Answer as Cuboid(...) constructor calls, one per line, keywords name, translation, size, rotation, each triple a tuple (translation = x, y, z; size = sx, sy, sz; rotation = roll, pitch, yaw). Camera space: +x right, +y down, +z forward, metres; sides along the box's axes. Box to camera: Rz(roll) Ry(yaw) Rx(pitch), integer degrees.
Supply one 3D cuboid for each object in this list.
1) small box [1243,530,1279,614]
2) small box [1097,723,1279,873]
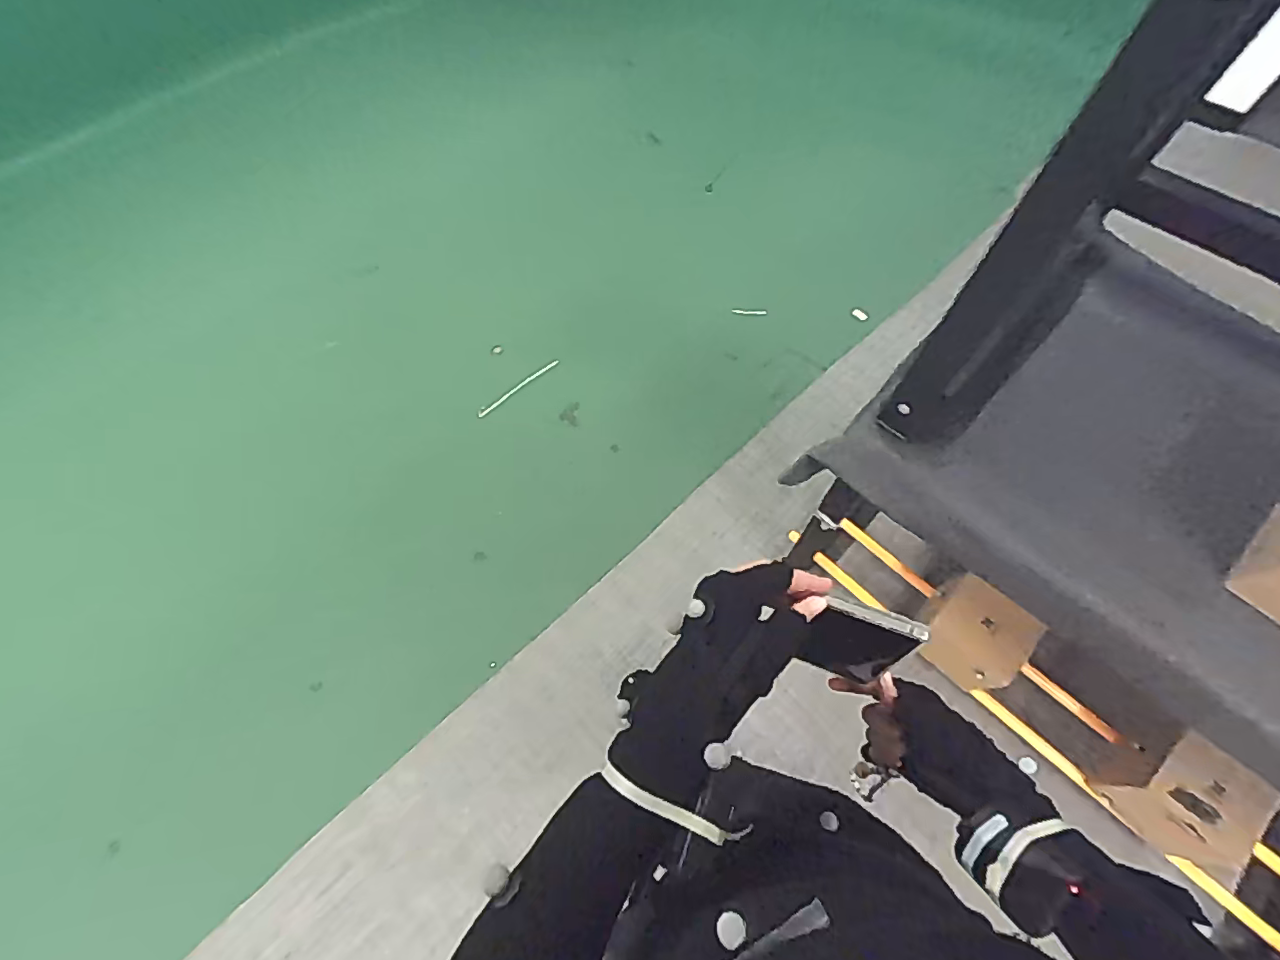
Cuboid(name="small box", translation=(0.842, 0.100, 0.583), size=(0.168, 0.176, 0.179), rotation=(-38, 68, -16))
Cuboid(name="small box", translation=(1.031, 0.592, 1.025), size=(0.179, 0.176, 0.168), rotation=(-38, 68, -16))
